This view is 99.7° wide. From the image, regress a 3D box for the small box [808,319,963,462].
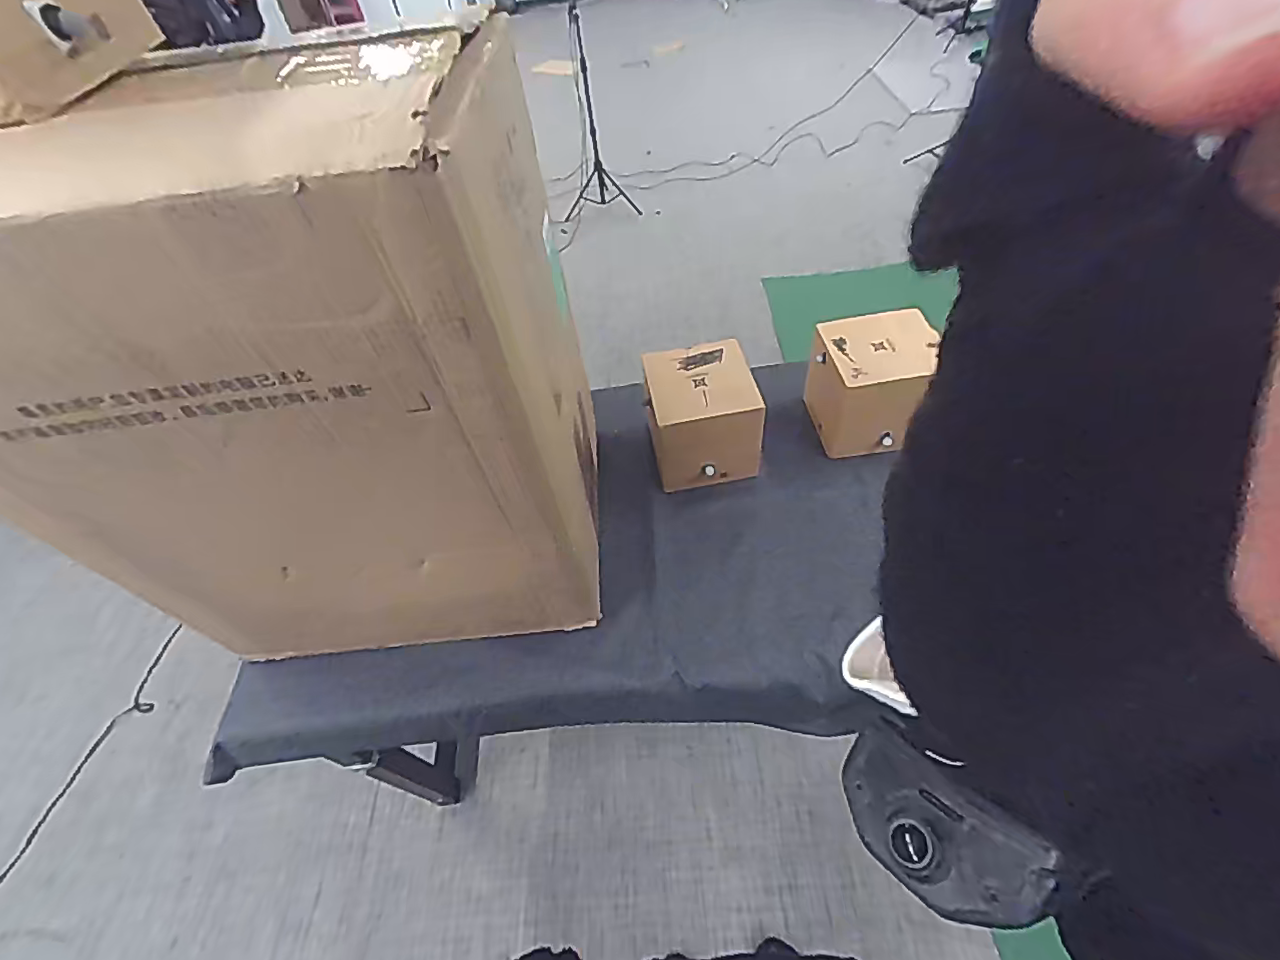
[{"bbox_3d":[0.406,-0.151,0.931,0.179,0.176,0.168,-7,50,2],"label":"small box"}]
